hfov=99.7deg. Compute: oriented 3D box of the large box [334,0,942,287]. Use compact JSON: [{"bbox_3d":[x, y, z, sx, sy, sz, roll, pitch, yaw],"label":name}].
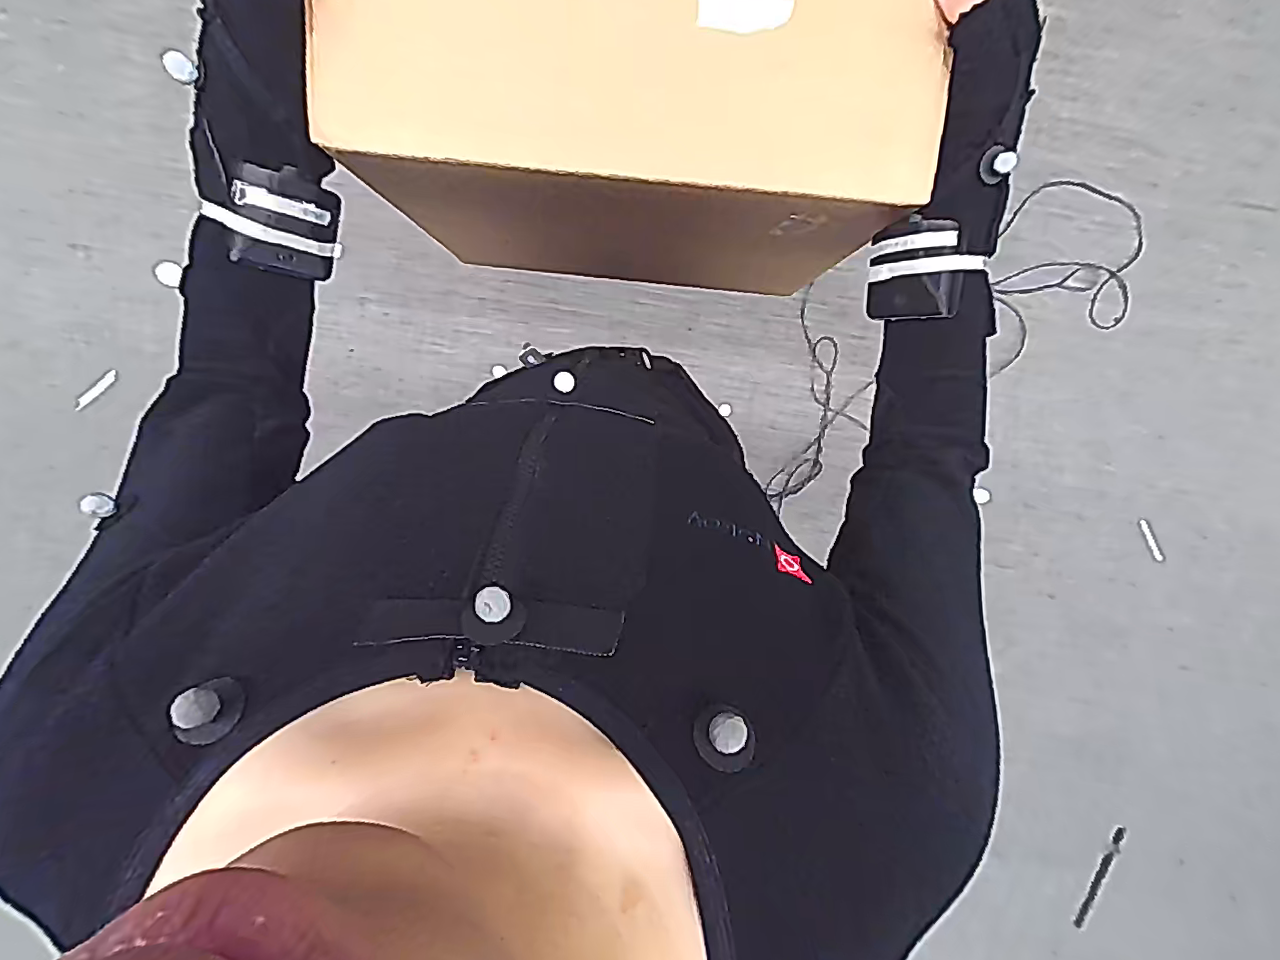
[{"bbox_3d":[0.000,-0.380,0.494,0.408,0.320,0.320,4,98,-2],"label":"large box"}]
